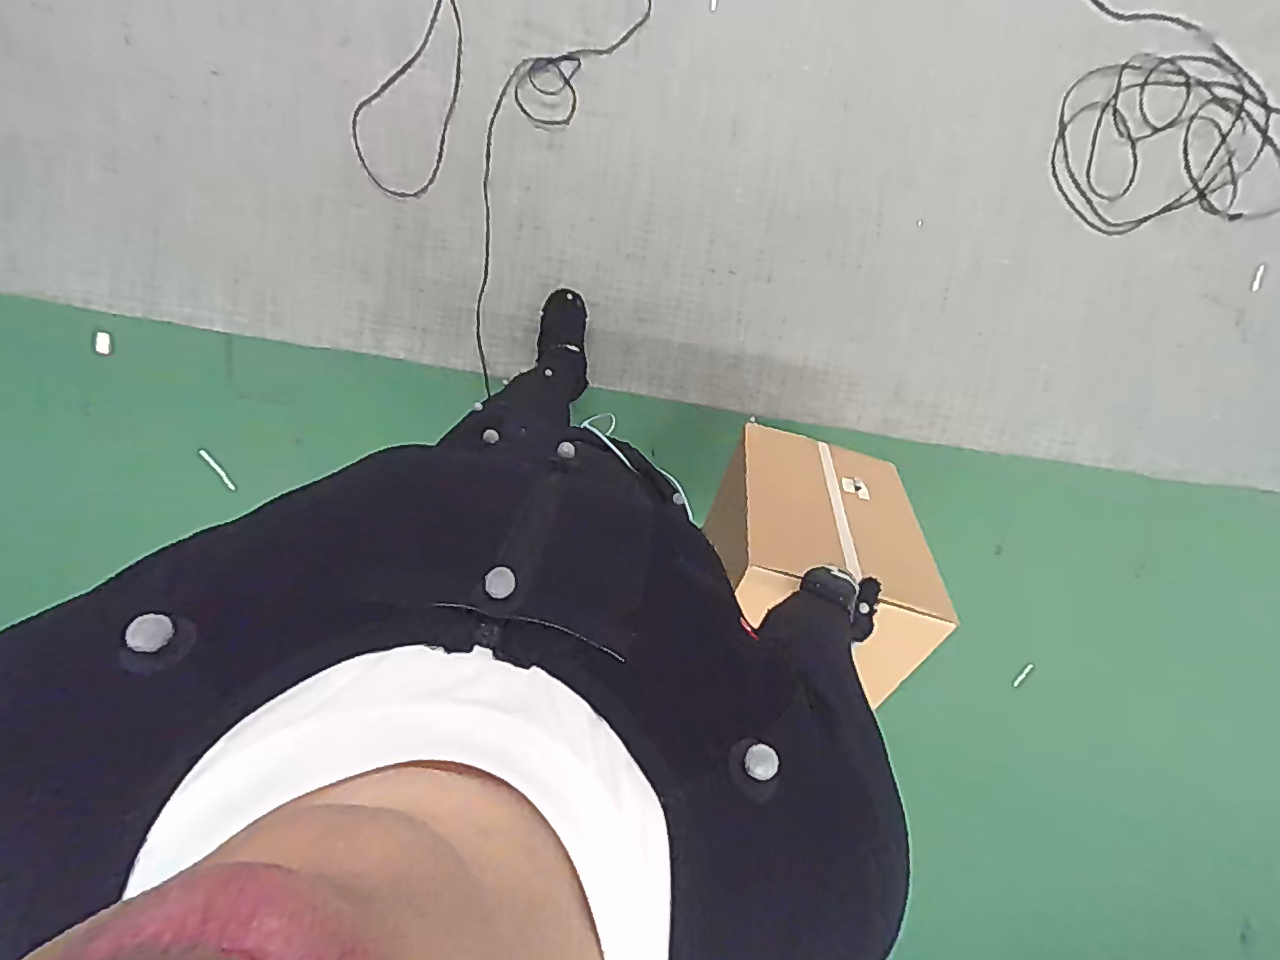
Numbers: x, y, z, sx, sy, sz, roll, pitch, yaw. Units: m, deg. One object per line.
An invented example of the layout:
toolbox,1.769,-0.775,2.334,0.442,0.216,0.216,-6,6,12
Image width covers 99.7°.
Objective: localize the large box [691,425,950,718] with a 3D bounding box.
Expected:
large box,0.291,0.159,1.015,0.320,0.408,0.320,17,126,-2
